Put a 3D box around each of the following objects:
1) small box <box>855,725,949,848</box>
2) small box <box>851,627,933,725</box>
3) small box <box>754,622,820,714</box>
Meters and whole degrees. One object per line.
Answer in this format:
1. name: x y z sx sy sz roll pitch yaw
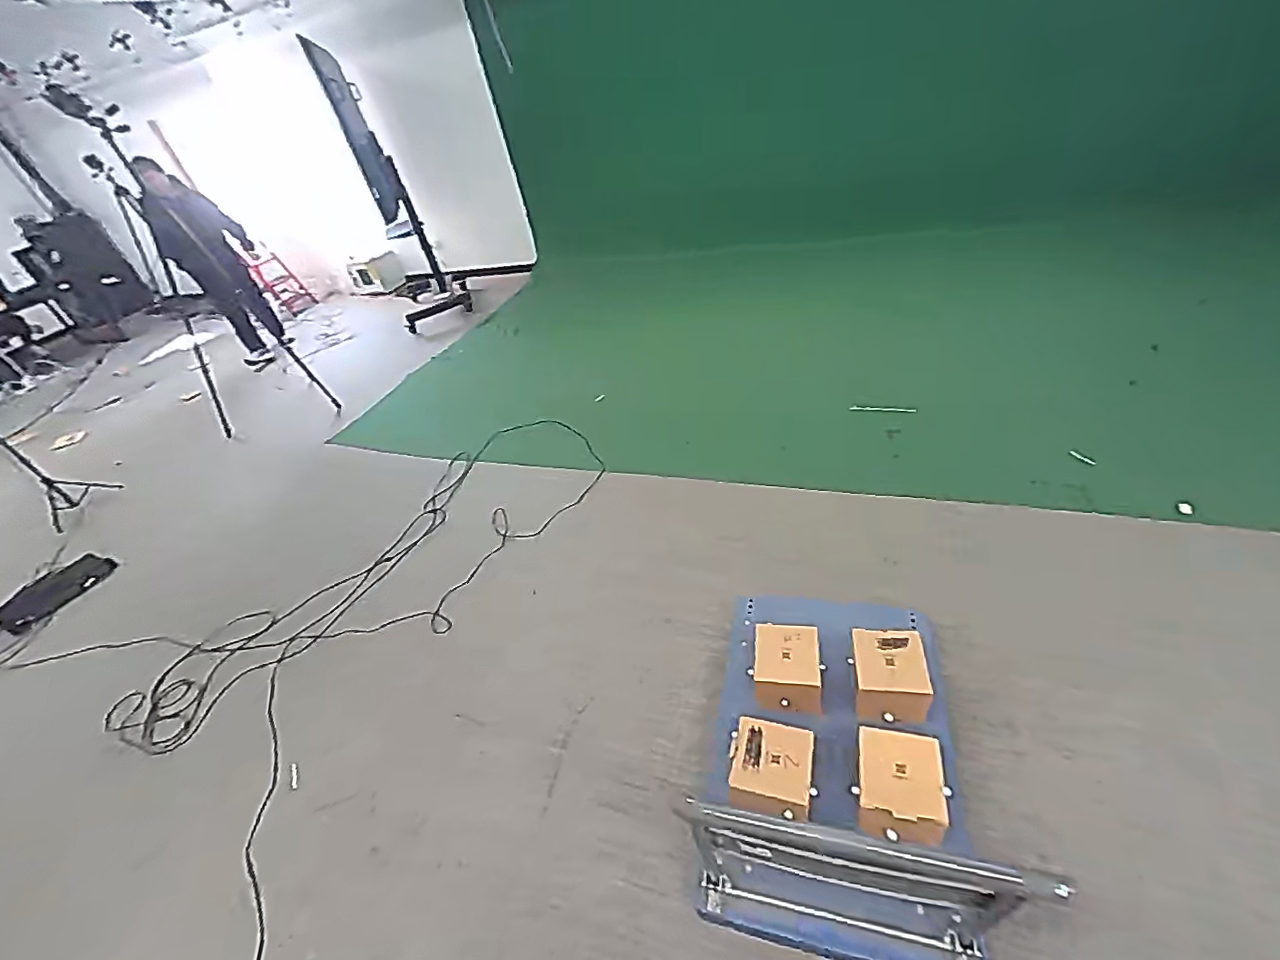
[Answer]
1. small box: 0.581 0.690 1.220 0.168 0.176 0.179 3 42 19
2. small box: 0.648 0.510 1.411 0.168 0.176 0.179 -1 42 16
3. small box: 0.404 0.515 1.478 0.168 0.176 0.179 0 41 15
